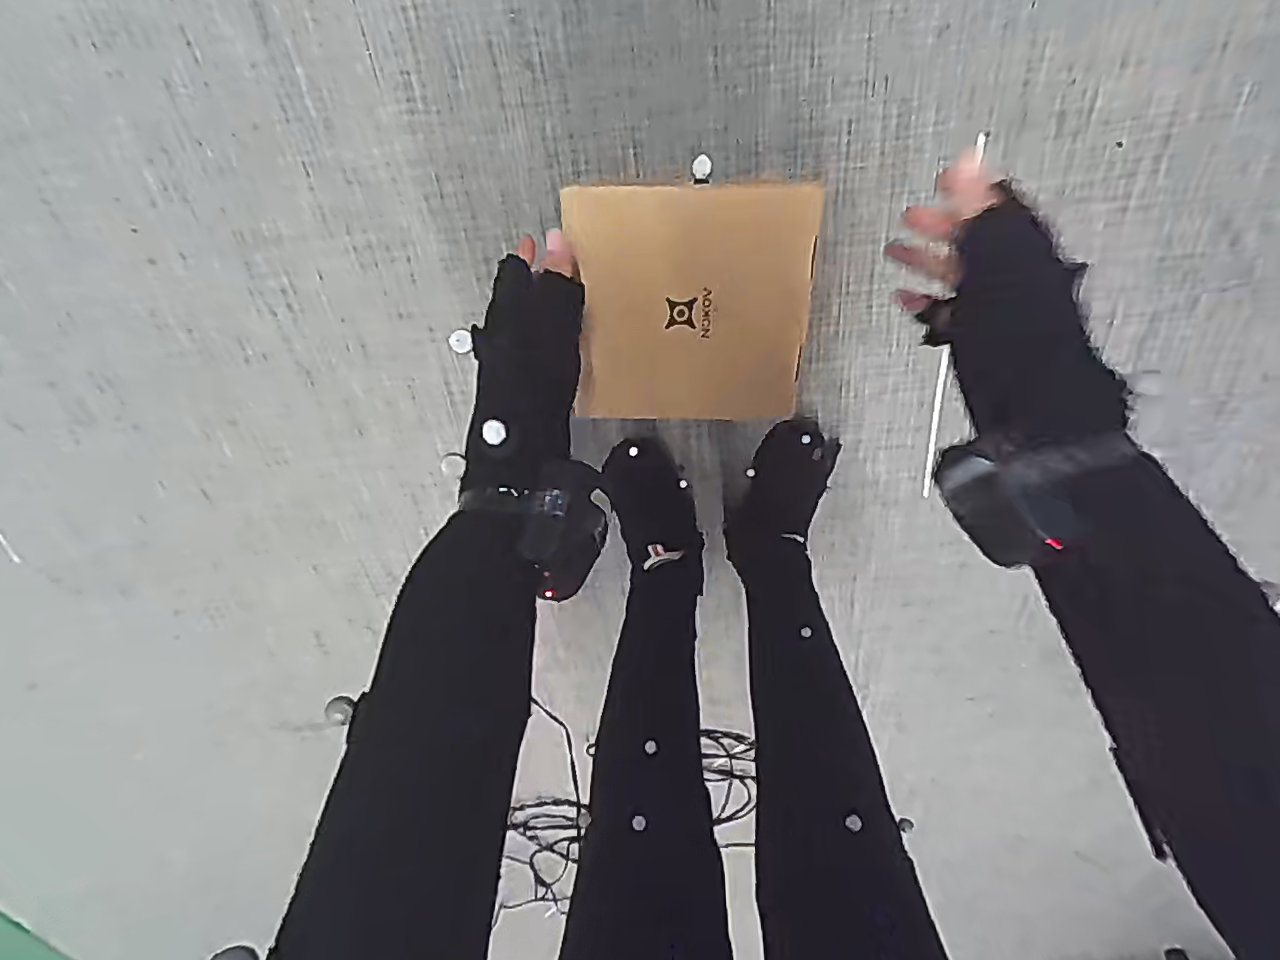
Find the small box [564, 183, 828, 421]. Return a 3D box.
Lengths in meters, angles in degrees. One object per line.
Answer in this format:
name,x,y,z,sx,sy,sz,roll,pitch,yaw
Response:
small box,0.039,-0.158,0.461,0.179,0.176,0.168,0,119,1
